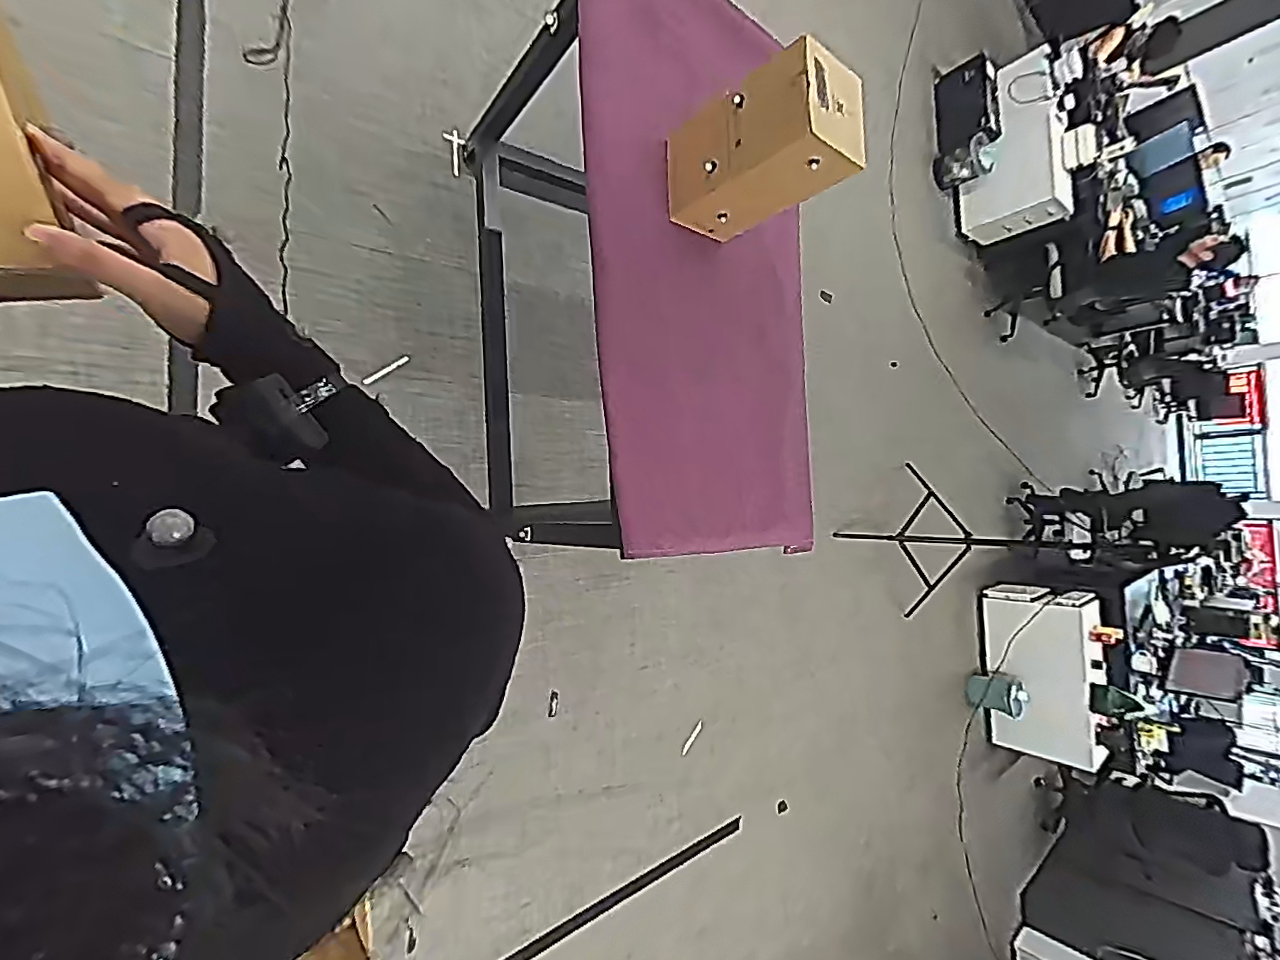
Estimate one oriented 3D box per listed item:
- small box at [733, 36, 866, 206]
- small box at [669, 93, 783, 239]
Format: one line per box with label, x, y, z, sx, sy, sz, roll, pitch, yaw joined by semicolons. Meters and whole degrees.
small box;0.281;-0.627;0.975;0.179;0.176;0.168;-1;89;-40
small box;0.172;-0.620;1.098;0.168;0.176;0.179;1;87;-40
